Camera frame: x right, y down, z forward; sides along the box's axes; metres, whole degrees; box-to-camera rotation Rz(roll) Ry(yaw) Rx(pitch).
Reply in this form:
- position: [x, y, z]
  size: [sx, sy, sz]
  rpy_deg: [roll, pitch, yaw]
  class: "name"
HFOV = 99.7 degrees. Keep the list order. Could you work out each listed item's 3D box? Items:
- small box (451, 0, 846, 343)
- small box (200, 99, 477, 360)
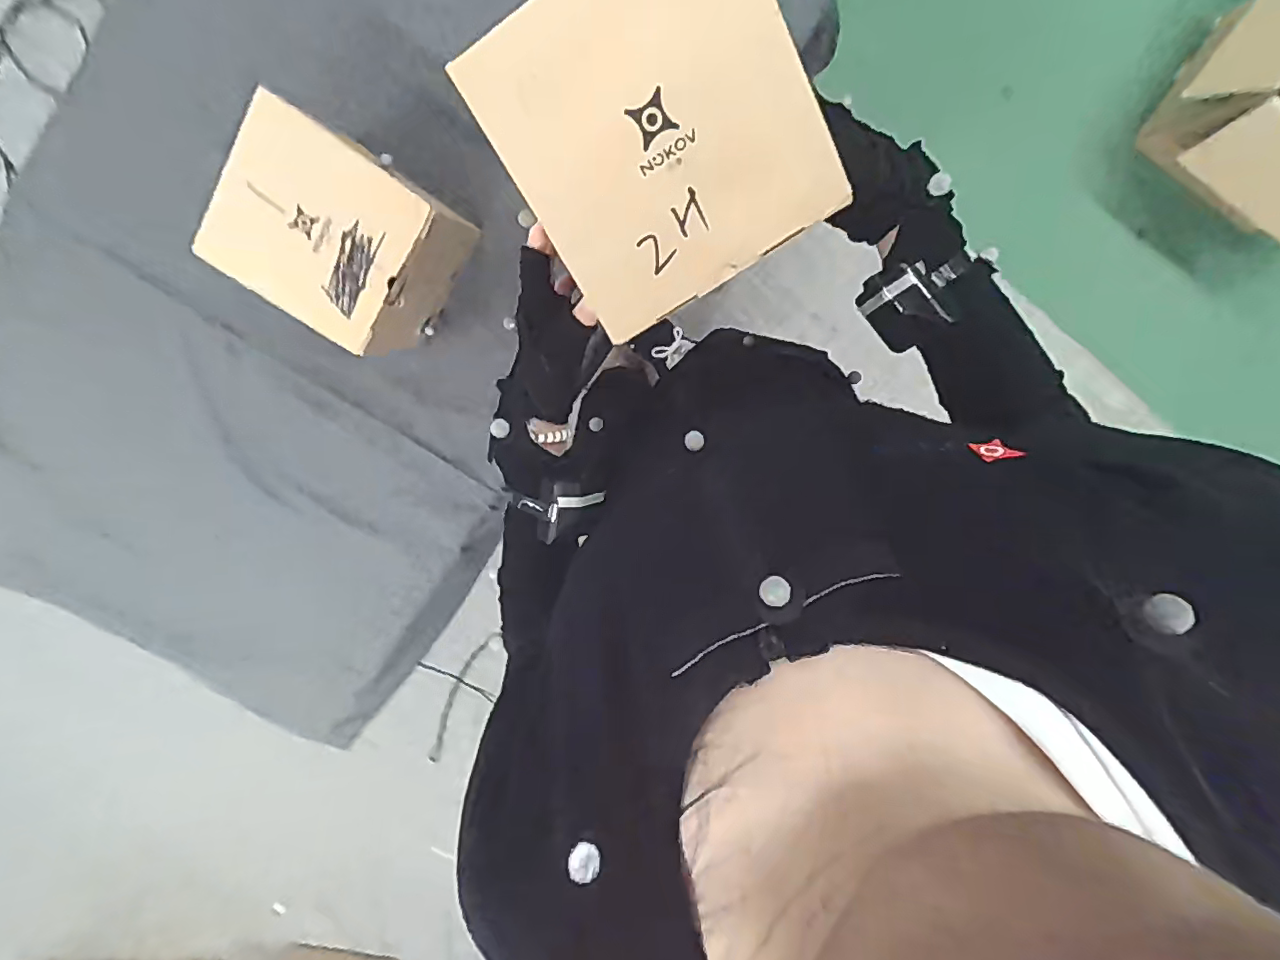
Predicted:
- position: [0.009, -0.221, 0.377]
  size: [0.168, 0.176, 0.179]
  rpy_deg: [-28, 110, 12]
  class: "small box"
- position: [-0.305, -0.254, 0.587]
  size: [0.179, 0.176, 0.168]
  rpy_deg: [33, 104, -9]
  class: "small box"
